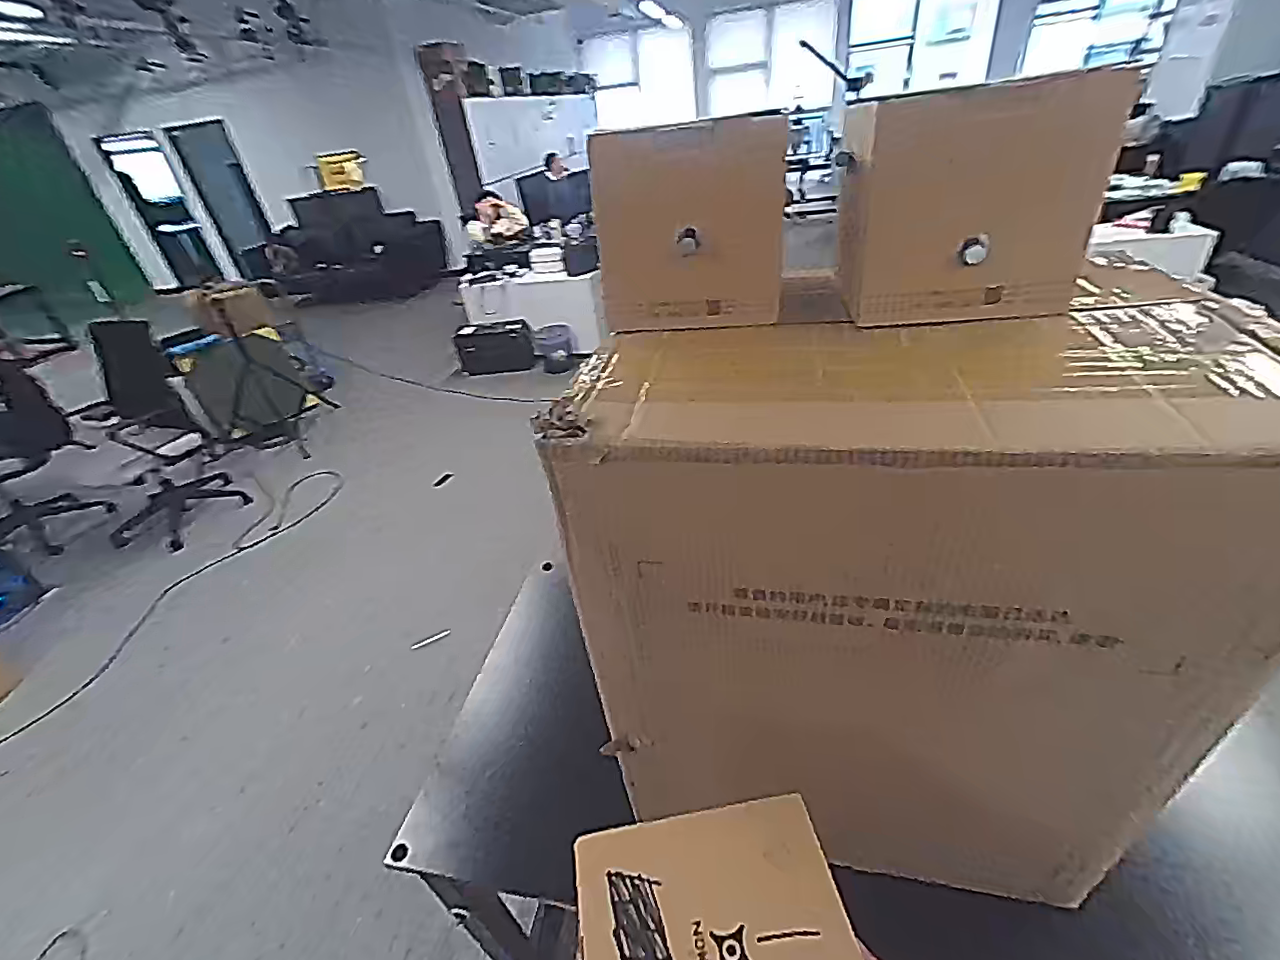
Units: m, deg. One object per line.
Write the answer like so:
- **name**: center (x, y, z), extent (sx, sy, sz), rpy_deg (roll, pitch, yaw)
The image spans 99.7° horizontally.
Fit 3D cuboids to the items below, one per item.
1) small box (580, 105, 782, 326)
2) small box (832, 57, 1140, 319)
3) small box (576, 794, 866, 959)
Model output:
- **small box**: center (0.050, -0.258, 0.537), extent (0.168, 0.176, 0.179), rpy_deg (-1, 34, 9)
- **small box**: center (0.270, -0.250, 0.479), extent (0.168, 0.176, 0.179), rpy_deg (-1, 33, 12)
- **small box**: center (0.058, 0.360, 0.379), extent (0.179, 0.176, 0.168), rpy_deg (-9, 34, -4)
